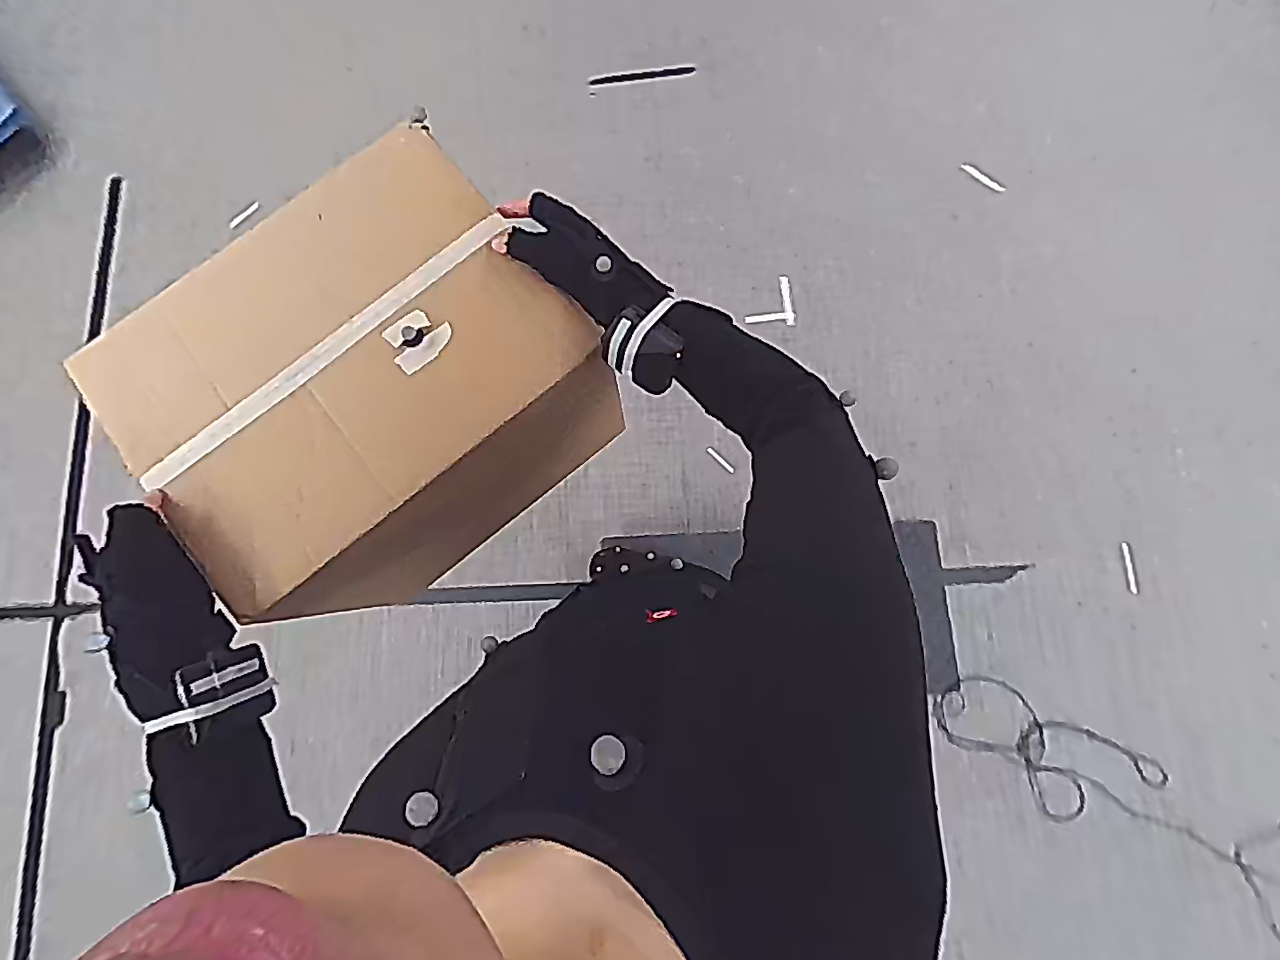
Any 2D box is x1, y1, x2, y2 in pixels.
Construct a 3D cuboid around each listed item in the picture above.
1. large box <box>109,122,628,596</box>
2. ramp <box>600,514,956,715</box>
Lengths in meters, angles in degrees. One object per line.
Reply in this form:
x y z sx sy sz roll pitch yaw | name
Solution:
-0.265 -0.104 0.661 0.408 0.320 0.320 -39 82 -5 | large box
0.395 0.360 1.534 0.991 0.206 0.509 -6 79 2 | ramp
